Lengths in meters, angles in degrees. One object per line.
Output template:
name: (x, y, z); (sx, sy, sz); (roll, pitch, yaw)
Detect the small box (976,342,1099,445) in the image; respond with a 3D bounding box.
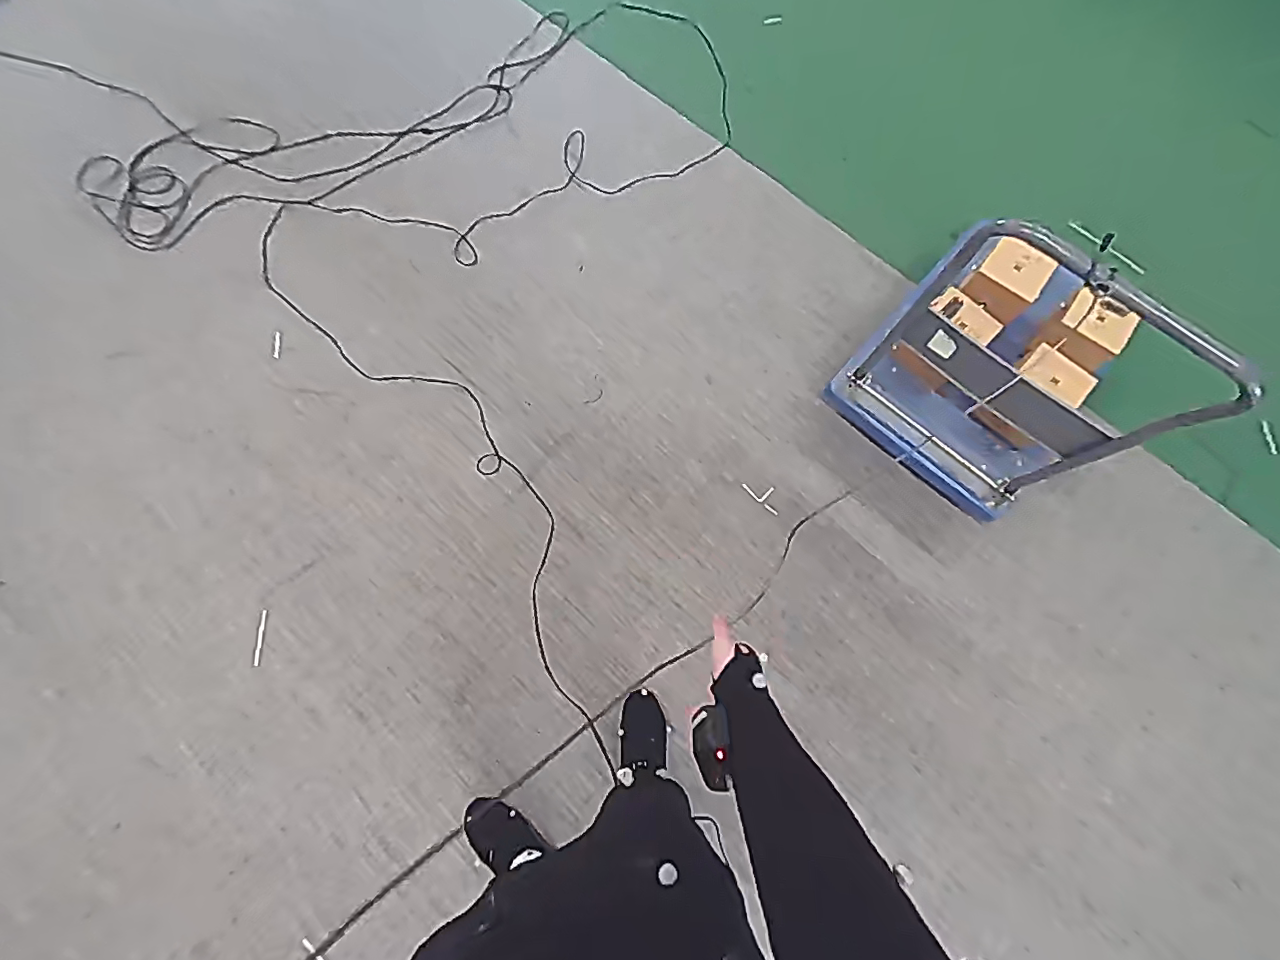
small box: (1.053, -0.226, 1.449); (0.168, 0.176, 0.179); (42, 76, 11)

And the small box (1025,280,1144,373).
small box: (1.236, -0.412, 1.518); (0.168, 0.176, 0.179); (38, 75, 11)

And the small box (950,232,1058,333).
small box: (1.039, -0.563, 1.562); (0.168, 0.176, 0.179); (38, 74, 9)
